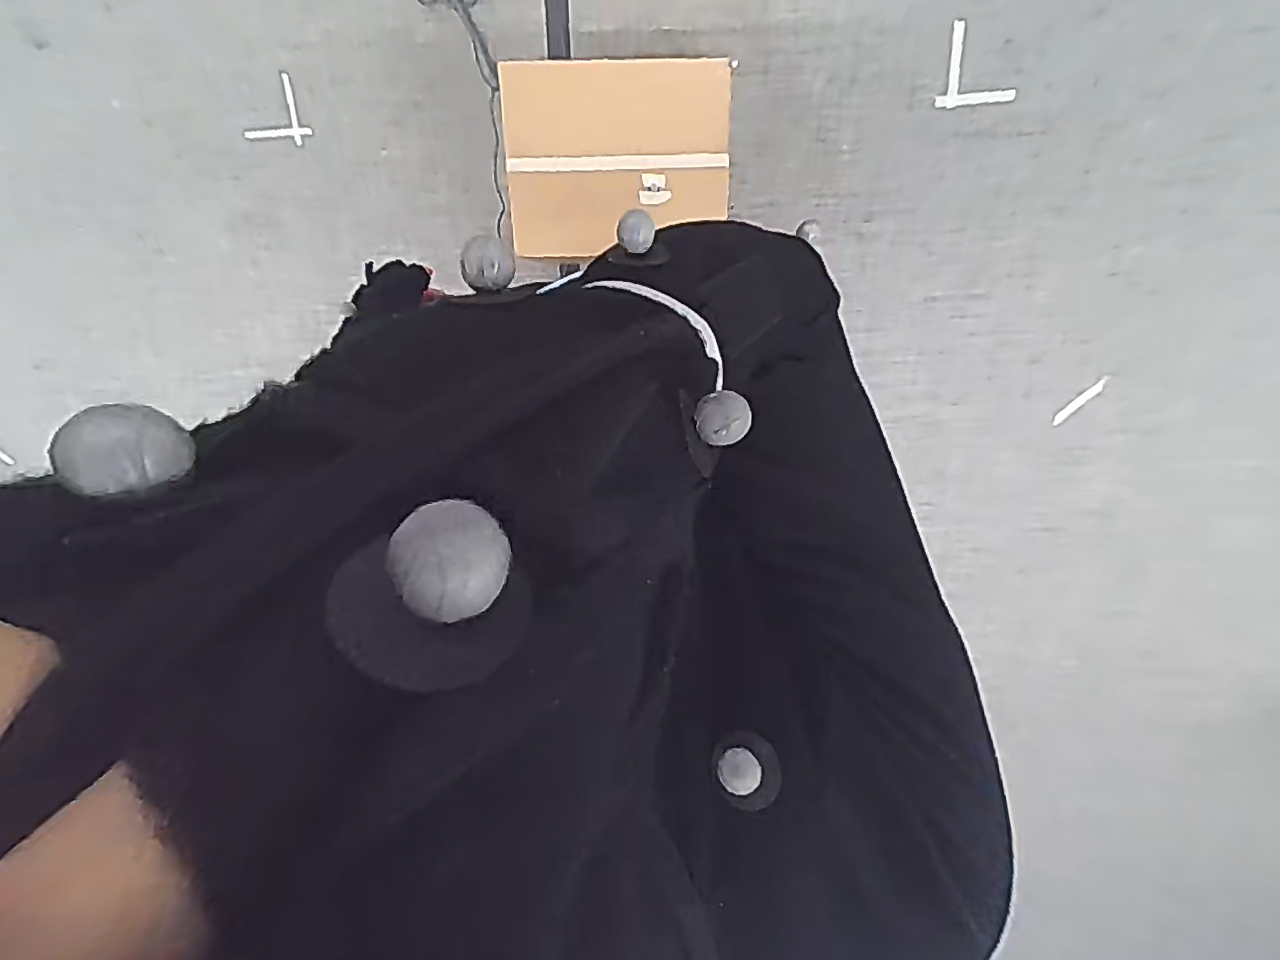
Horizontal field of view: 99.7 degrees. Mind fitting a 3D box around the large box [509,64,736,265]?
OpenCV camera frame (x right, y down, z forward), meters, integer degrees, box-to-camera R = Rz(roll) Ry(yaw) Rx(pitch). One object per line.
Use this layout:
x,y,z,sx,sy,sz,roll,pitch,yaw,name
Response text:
-0.033,-0.625,1.129,0.408,0.320,0.320,-1,110,-1,large box
